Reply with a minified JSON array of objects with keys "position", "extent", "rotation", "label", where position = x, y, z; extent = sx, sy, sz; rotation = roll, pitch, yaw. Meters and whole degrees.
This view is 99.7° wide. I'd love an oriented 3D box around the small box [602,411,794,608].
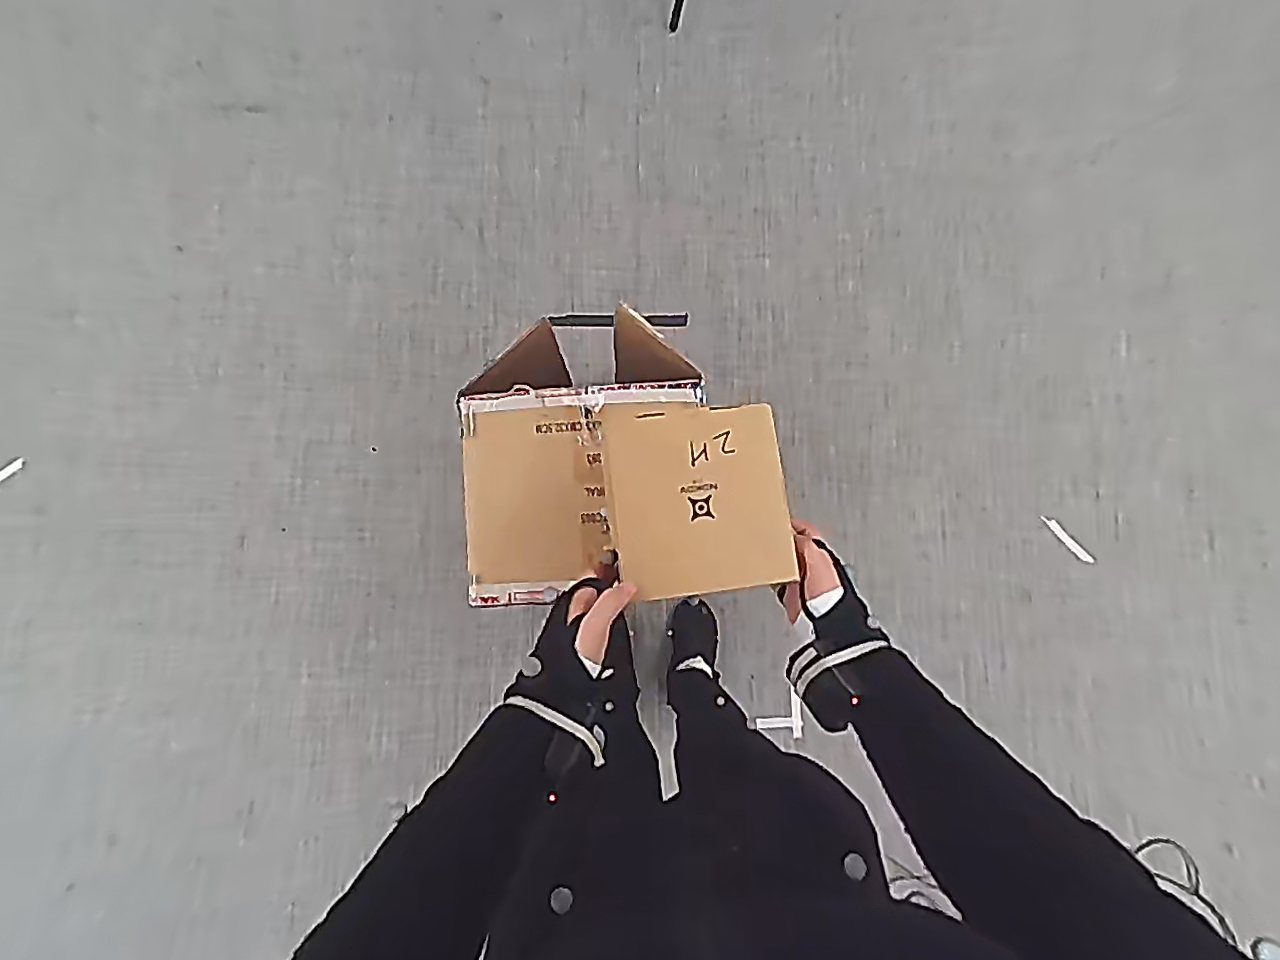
[{"position":[0.049,0.036,0.591],"extent":[0.168,0.176,0.179],"rotation":[-6,81,-7],"label":"small box"}]
